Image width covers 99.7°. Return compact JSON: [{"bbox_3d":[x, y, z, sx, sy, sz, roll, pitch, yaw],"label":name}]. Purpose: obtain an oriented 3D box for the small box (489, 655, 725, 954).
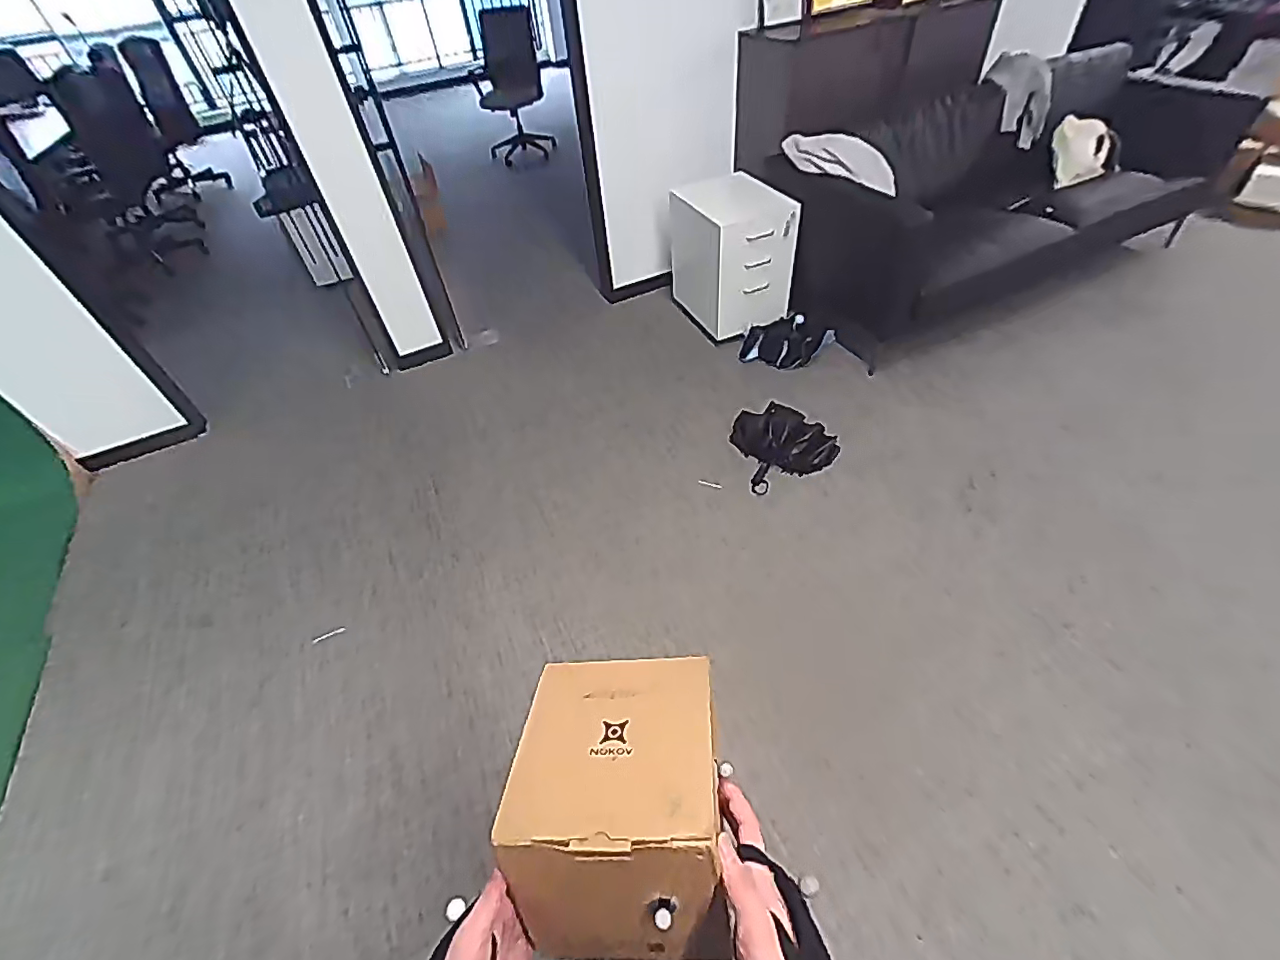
[{"bbox_3d":[-0.014,0.286,0.490,0.168,0.176,0.179,-4,25,7],"label":"small box"}]
